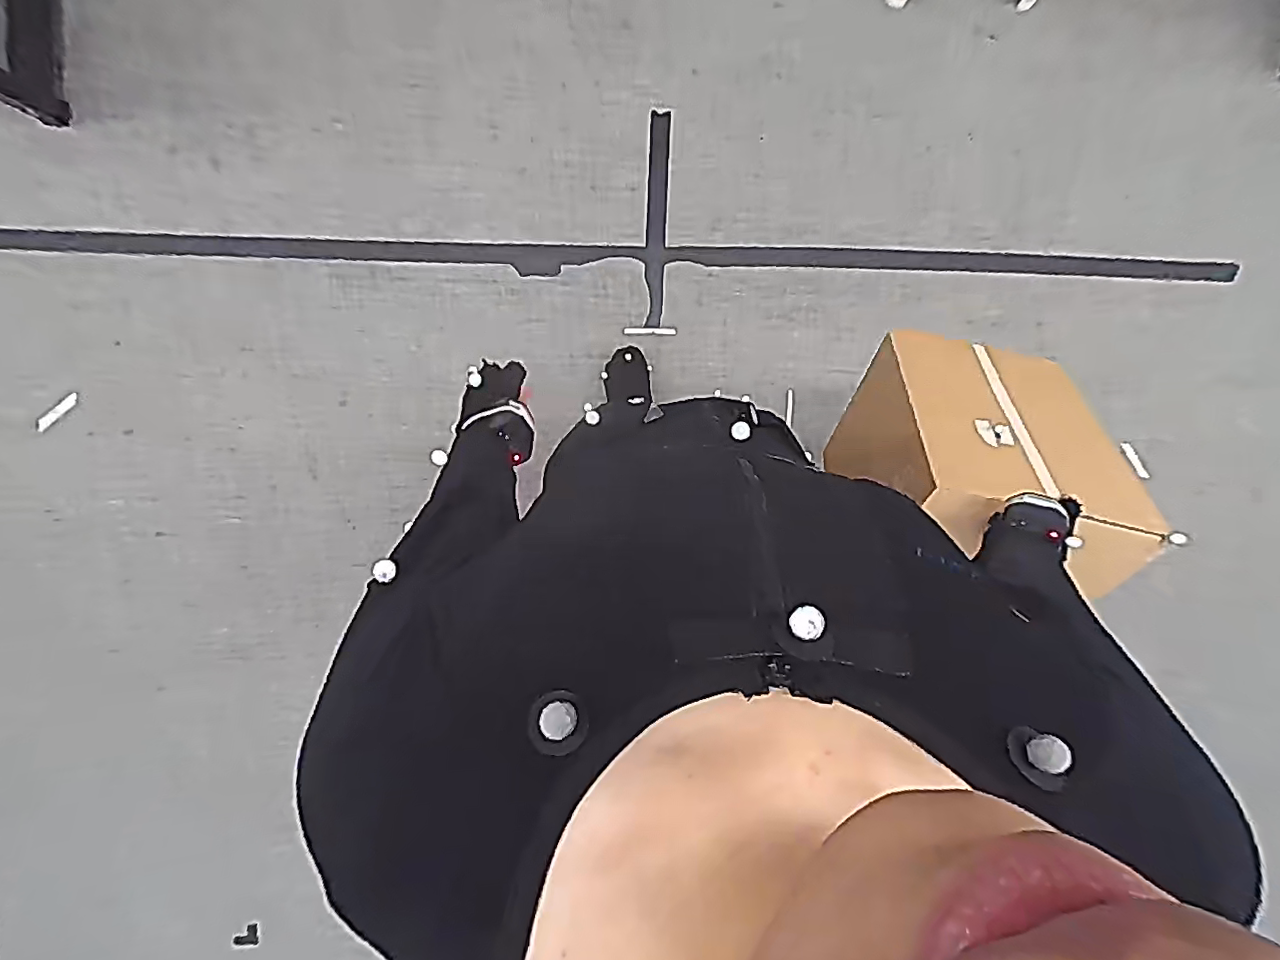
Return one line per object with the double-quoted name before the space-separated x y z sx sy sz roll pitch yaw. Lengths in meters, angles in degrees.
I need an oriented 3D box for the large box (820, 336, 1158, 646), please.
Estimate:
"large box" 0.535 0.013 0.947 0.320 0.408 0.320 12 136 1
